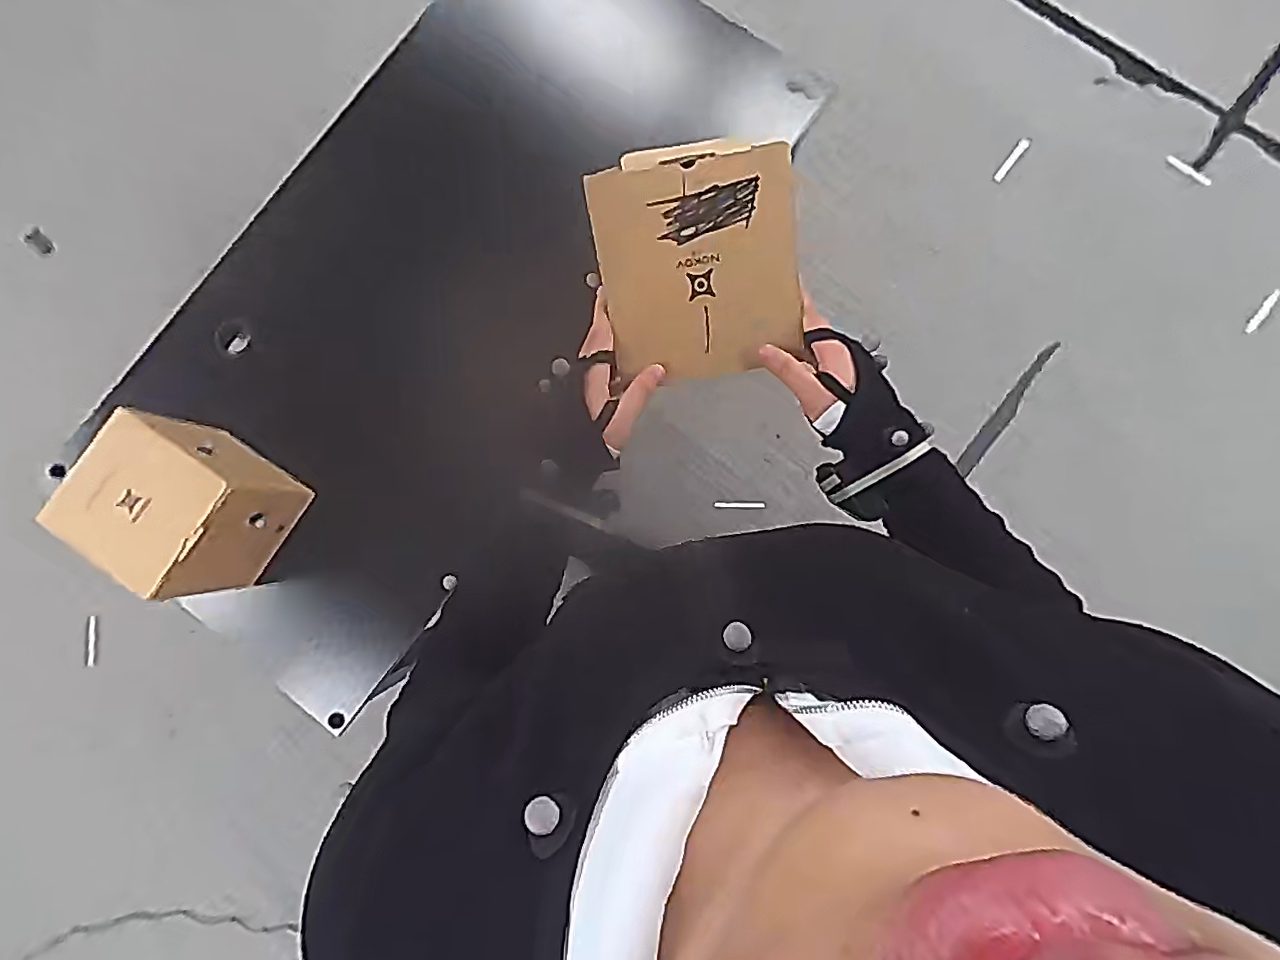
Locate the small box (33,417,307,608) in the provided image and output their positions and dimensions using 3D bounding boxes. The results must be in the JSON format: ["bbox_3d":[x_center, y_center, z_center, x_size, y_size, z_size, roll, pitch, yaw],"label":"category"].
[{"bbox_3d":[-0.593,0.043,0.712,0.179,0.176,0.168,32,85,5],"label":"small box"}]

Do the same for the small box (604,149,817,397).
[{"bbox_3d":[0.058,-0.189,0.522,0.168,0.176,0.179,-9,108,0],"label":"small box"}]
